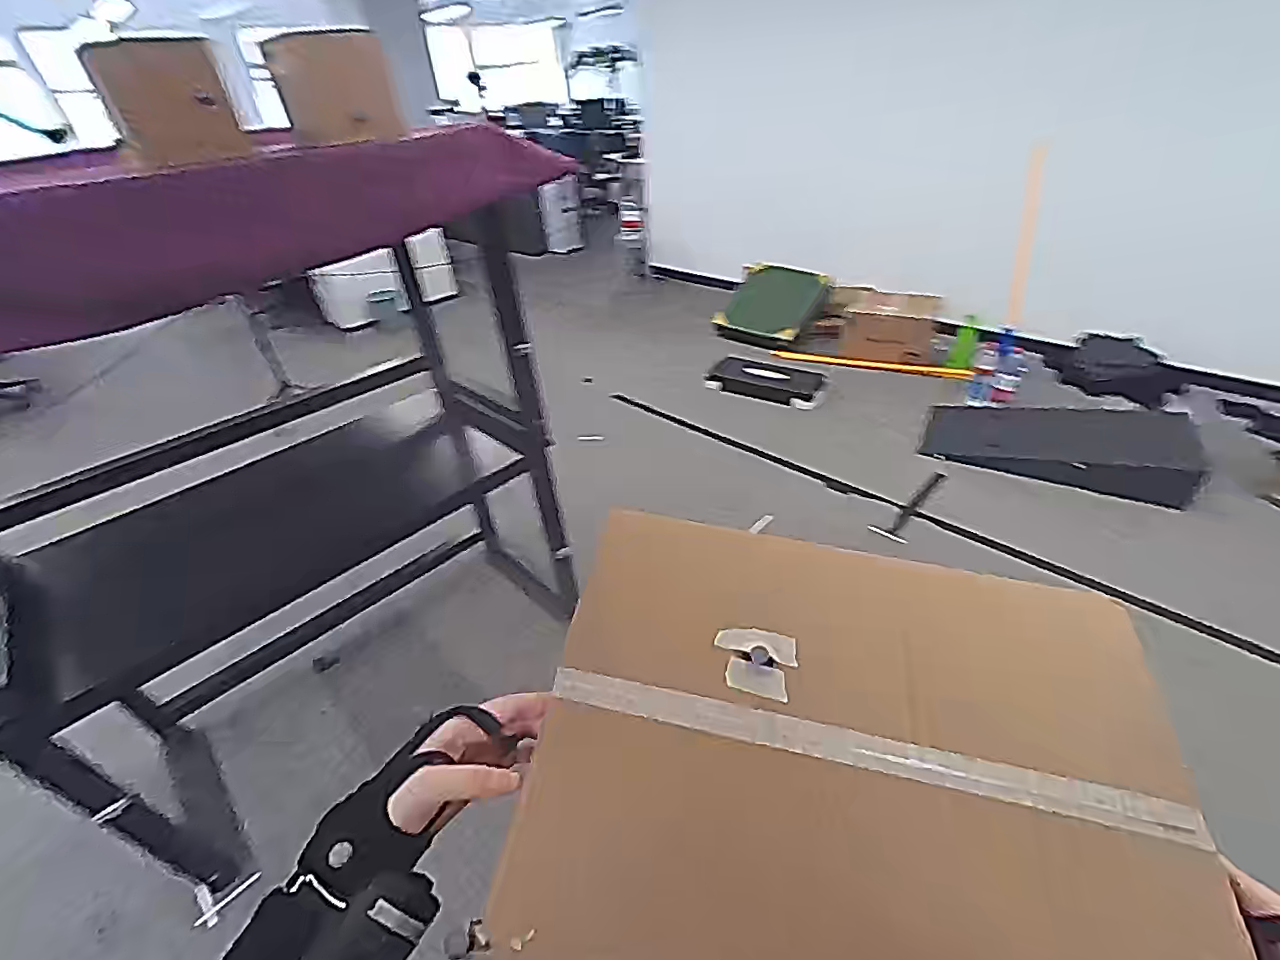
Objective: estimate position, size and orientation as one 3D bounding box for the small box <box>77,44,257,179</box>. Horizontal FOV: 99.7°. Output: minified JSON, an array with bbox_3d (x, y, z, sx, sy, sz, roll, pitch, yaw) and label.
[{"bbox_3d":[-0.790,-0.625,0.920,0.179,0.176,0.168,-33,44,-32],"label":"small box"}]

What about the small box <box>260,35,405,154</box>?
[{"bbox_3d":[-0.578,-0.737,1.040,0.168,0.176,0.179,25,46,37],"label":"small box"}]
